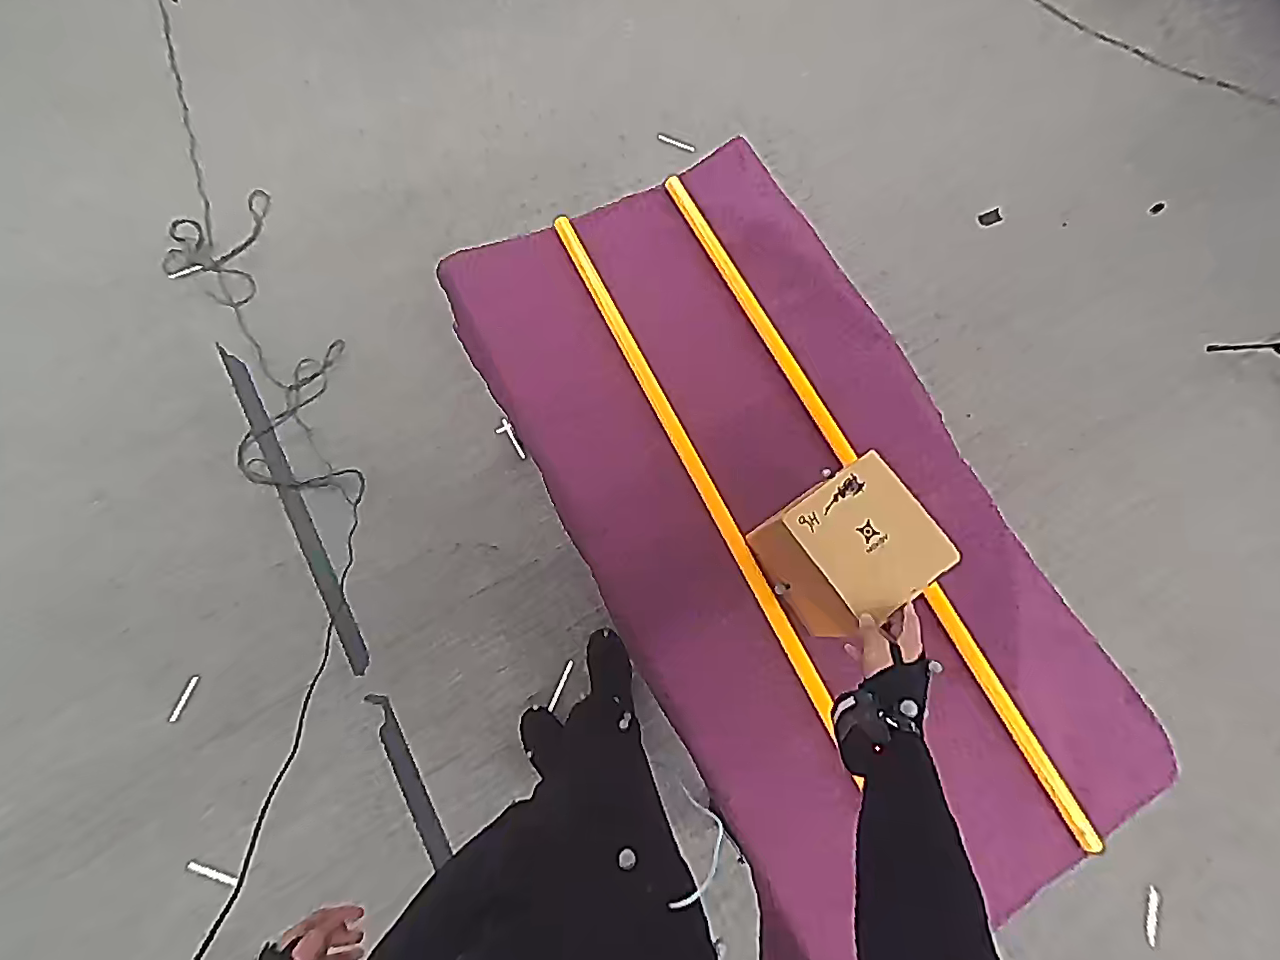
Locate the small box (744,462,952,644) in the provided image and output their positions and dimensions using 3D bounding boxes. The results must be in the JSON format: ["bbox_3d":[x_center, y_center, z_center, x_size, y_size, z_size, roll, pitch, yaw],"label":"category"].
[{"bbox_3d":[0.275,0.105,0.755,0.168,0.176,0.179,-33,81,-13],"label":"small box"}]
